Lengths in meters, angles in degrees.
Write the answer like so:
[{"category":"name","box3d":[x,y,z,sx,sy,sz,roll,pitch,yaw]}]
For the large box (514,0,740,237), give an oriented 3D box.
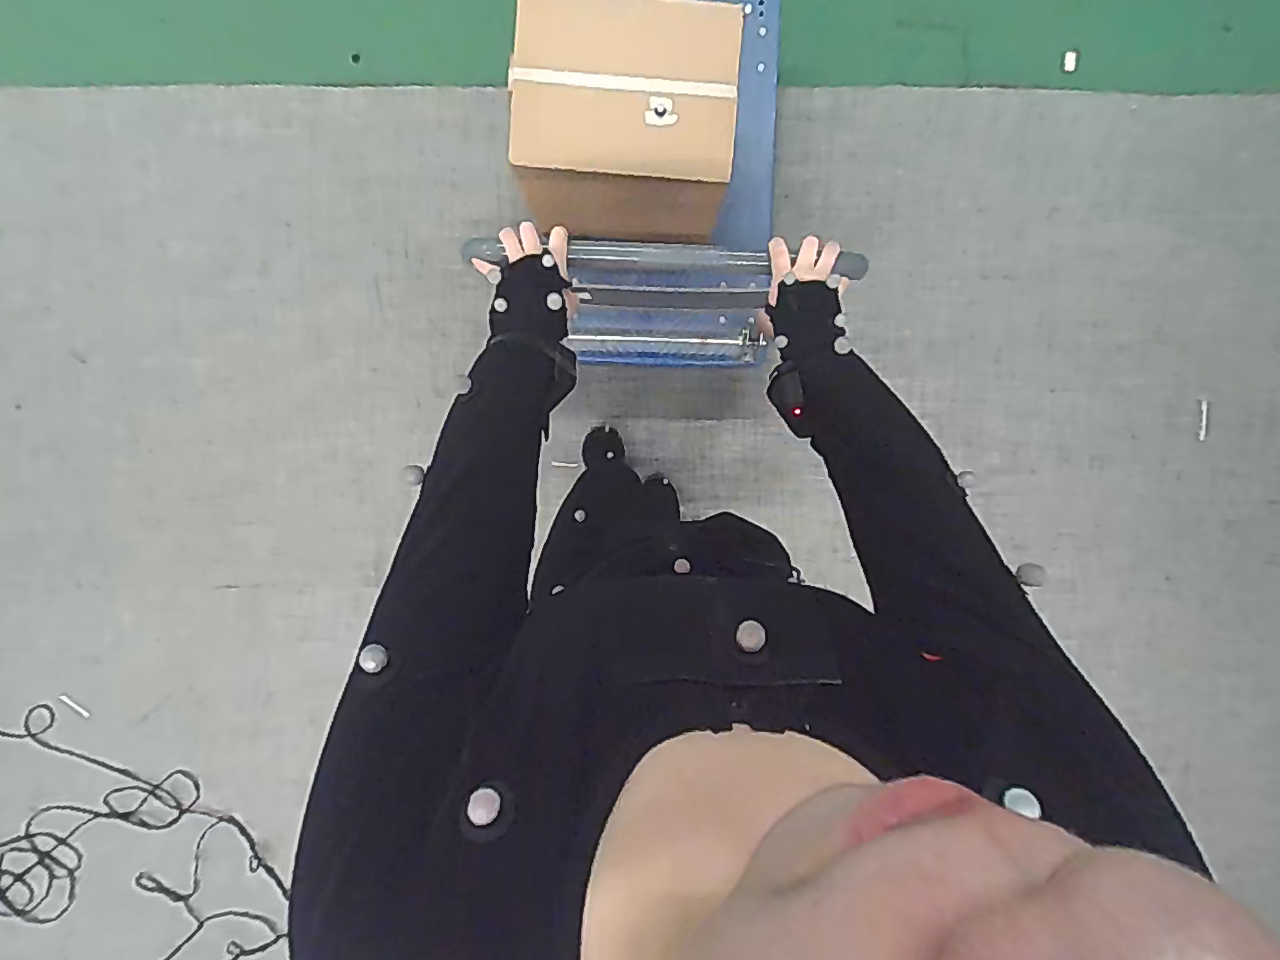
[{"category":"large box","box3d":[-0.031,-0.733,1.131,0.408,0.320,0.320,4,94,-2]}]
